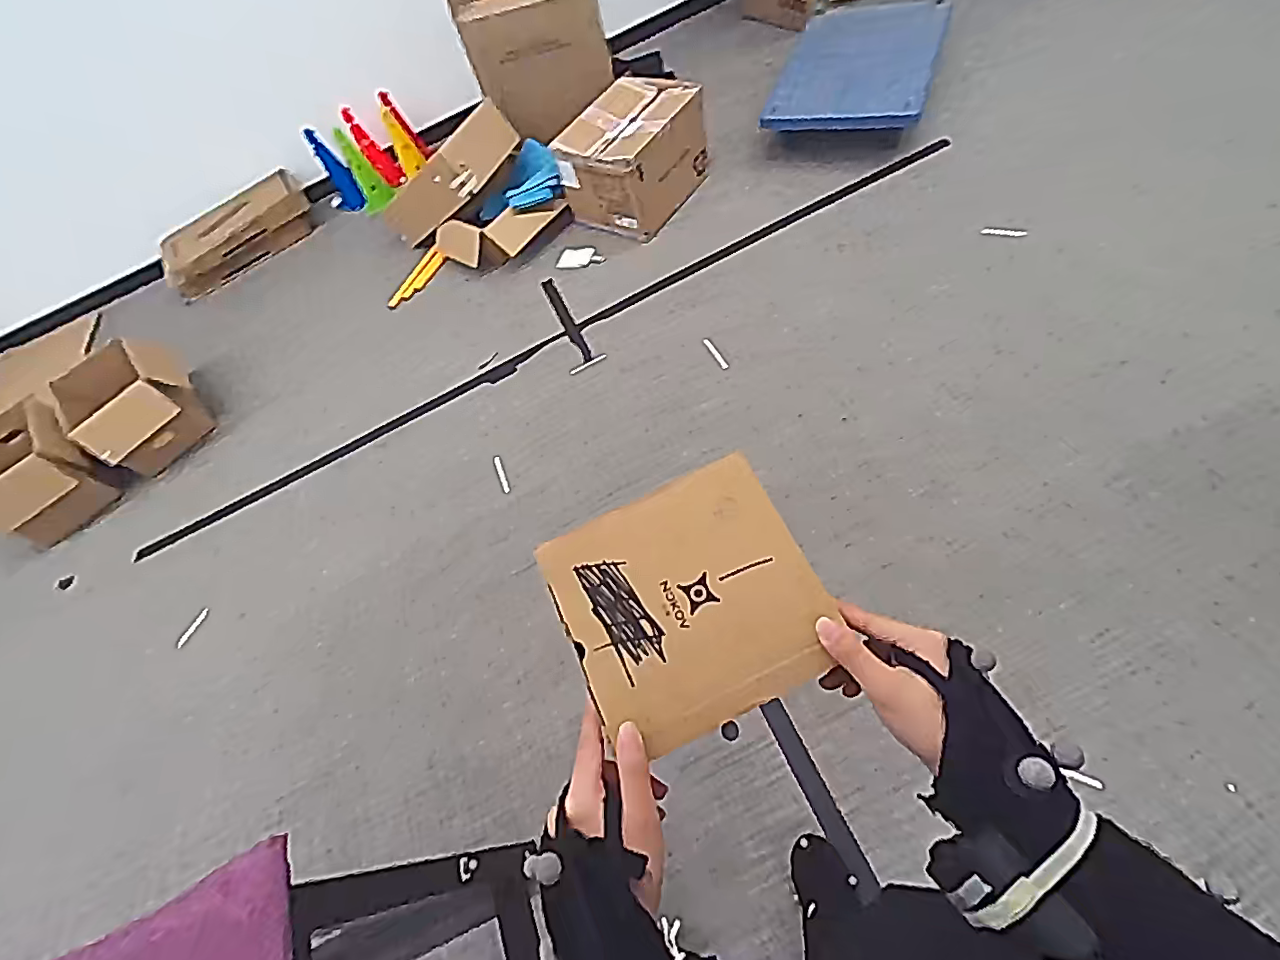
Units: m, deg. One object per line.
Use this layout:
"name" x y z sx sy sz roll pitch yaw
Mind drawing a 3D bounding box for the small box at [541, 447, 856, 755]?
"small box" 0.044 0.106 0.451 0.179 0.176 0.168 -25 67 -3
